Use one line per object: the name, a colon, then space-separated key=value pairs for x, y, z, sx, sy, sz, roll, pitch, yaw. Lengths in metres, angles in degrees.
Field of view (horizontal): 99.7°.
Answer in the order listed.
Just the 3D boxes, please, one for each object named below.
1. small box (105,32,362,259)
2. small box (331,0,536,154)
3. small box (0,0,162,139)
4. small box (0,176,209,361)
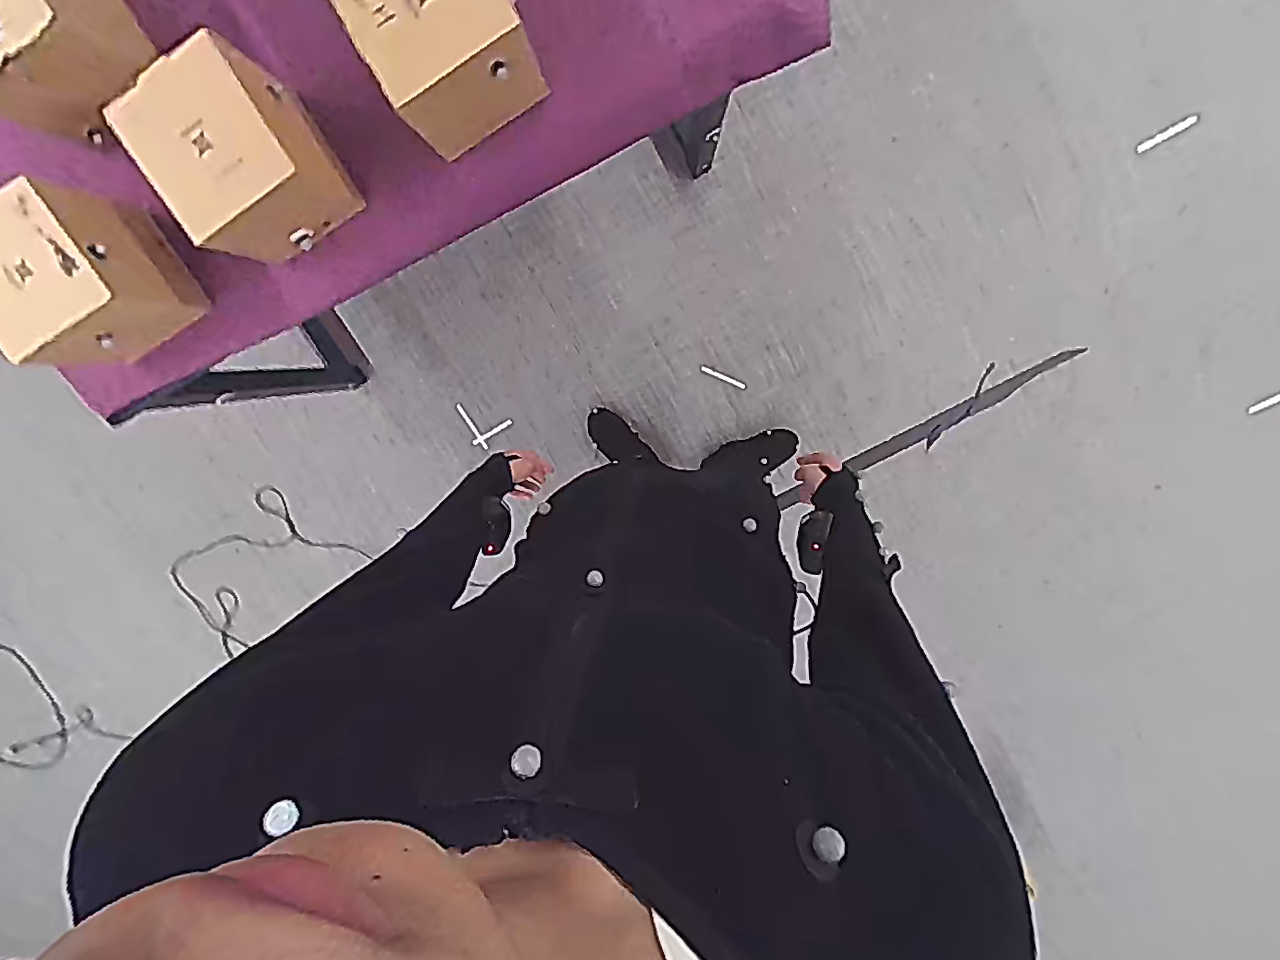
small box: x=-0.523 y=-0.425 z=0.724 sx=0.168 sy=0.176 sz=0.179 roll=-29 pitch=102 yaw=9
small box: x=-0.248 y=-0.559 z=0.681 sx=0.179 sy=0.176 sz=0.168 roll=-29 pitch=100 yaw=8
small box: x=-0.777 y=-0.579 z=0.697 sx=0.168 sy=0.176 sz=0.179 roll=-30 pitch=100 yaw=8
small box: x=-0.778 y=-0.281 z=0.763 sx=0.179 sy=0.176 sz=0.168 roll=-28 pitch=101 yaw=8
